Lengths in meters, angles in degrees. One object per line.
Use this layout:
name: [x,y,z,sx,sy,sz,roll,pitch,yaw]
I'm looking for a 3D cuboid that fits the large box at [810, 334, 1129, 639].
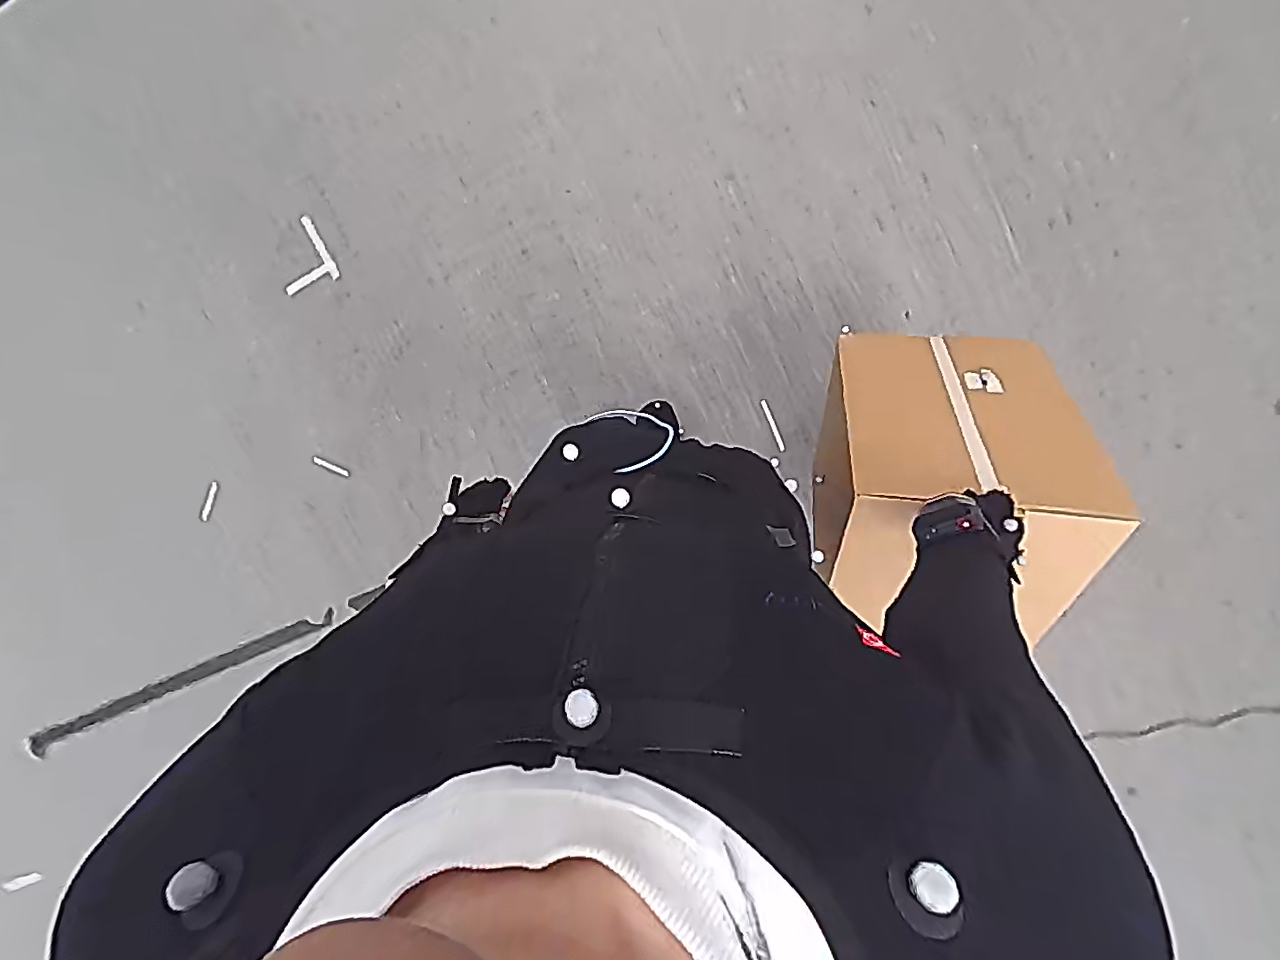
large box: [0.469,-0.001,0.897,0.320,0.408,0.320,5,134,9]
